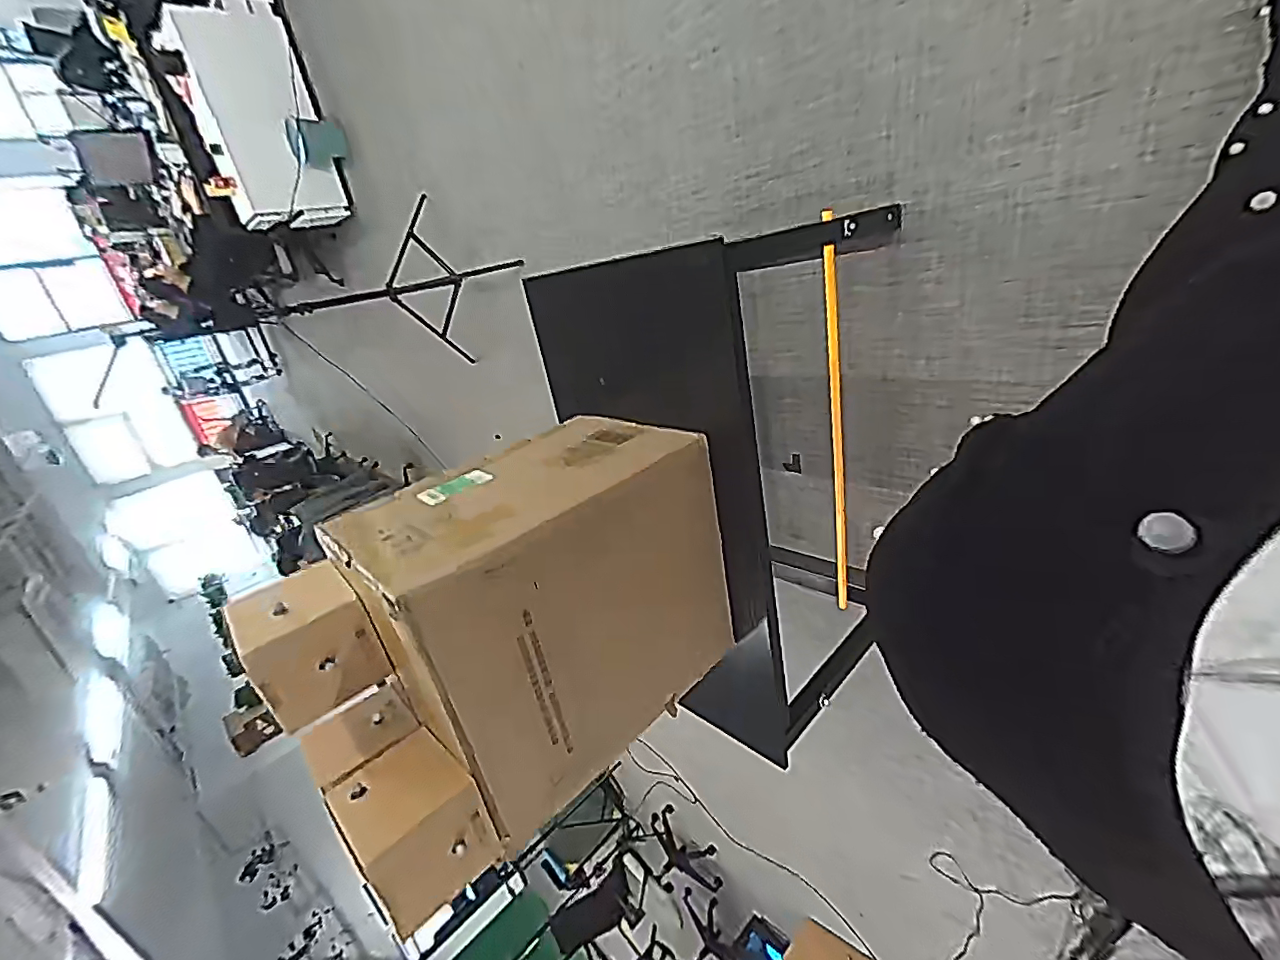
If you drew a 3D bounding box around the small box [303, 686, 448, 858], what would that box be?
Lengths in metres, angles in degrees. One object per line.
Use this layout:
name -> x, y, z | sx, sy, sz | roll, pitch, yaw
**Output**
small box -> -0.475, 0.519, 0.985 | 0.168, 0.176, 0.179 | 15, 123, 46
